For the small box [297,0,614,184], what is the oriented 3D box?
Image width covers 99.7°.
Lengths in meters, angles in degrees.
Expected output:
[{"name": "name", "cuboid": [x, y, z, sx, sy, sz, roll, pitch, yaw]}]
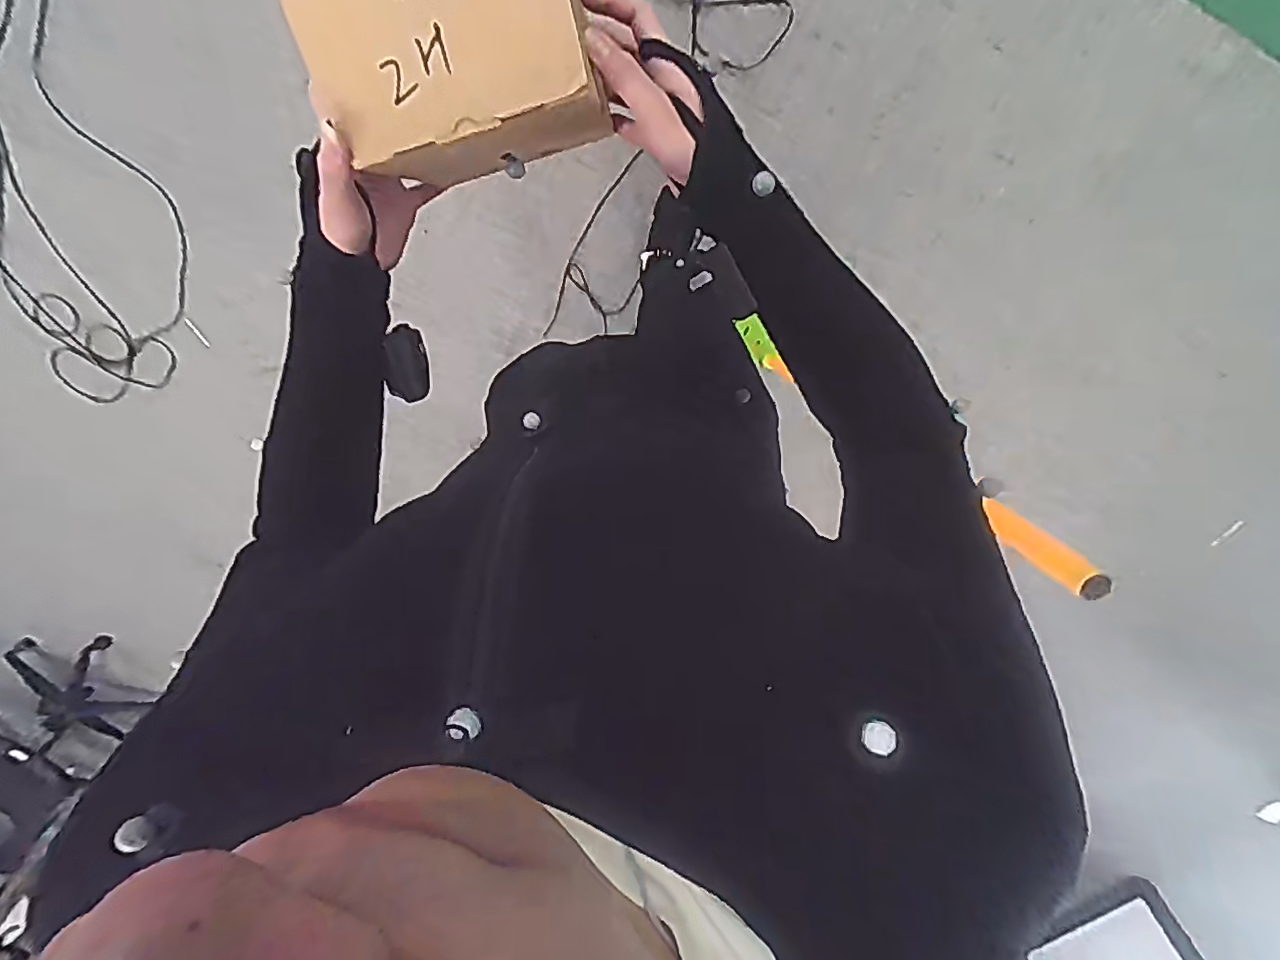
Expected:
[{"name": "small box", "cuboid": [-0.121, -0.330, 0.384, 0.168, 0.176, 0.179, -11, 114, 8]}]
